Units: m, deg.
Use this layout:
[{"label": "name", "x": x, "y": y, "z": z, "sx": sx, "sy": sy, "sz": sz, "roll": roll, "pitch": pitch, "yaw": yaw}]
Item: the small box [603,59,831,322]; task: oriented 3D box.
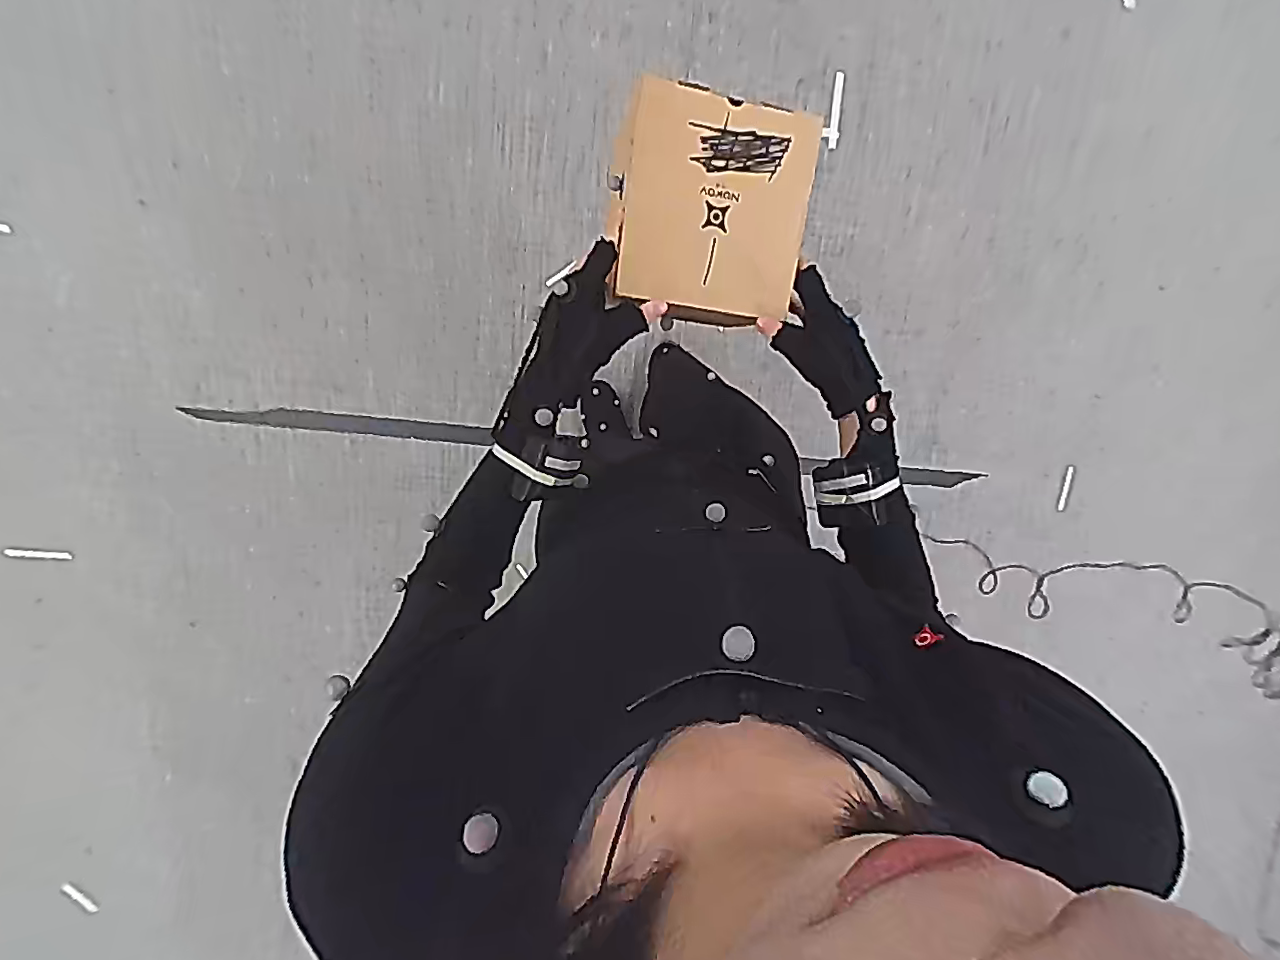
[{"label": "small box", "x": 0.059, "y": -0.262, "z": 0.539, "sx": 0.168, "sy": 0.176, "sz": 0.179, "roll": 6, "pitch": 103, "yaw": -11}]
